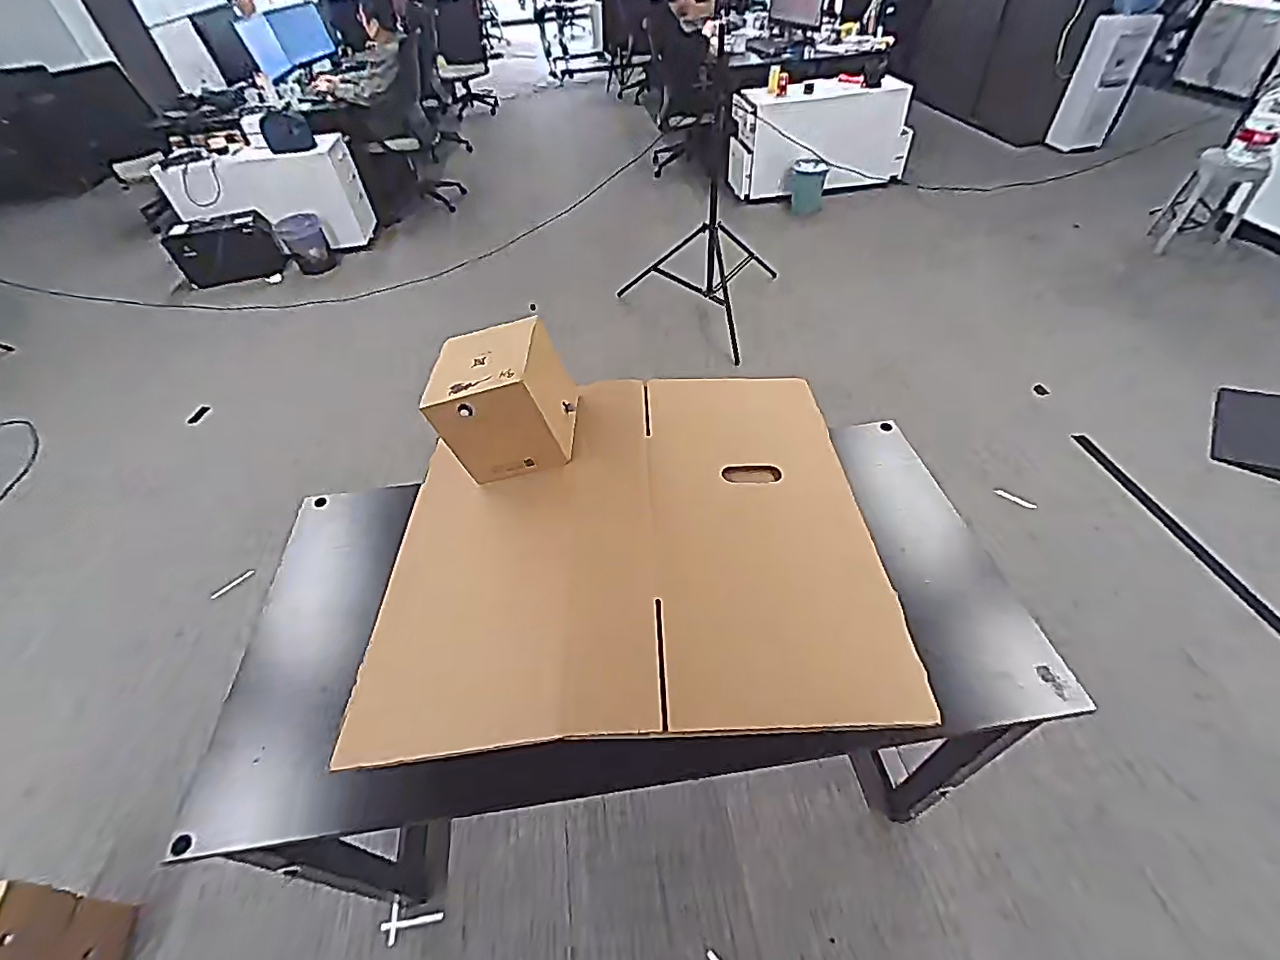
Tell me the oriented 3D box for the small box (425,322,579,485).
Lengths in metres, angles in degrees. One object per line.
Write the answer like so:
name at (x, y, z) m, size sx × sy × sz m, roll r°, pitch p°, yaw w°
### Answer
small box at (-0.206, -0.119, 0.865) m, size 0.168 × 0.176 × 0.179 m, roll -13°, pitch 44°, yaw 13°

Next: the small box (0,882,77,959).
small box at (-1.220, 0.882, 0.999) m, size 0.168 × 0.176 × 0.179 m, roll -12°, pitch 45°, yaw -8°

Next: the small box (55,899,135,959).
small box at (-1.207, 0.998, 1.112) m, size 0.168 × 0.176 × 0.179 m, roll -11°, pitch 47°, yaw -5°
